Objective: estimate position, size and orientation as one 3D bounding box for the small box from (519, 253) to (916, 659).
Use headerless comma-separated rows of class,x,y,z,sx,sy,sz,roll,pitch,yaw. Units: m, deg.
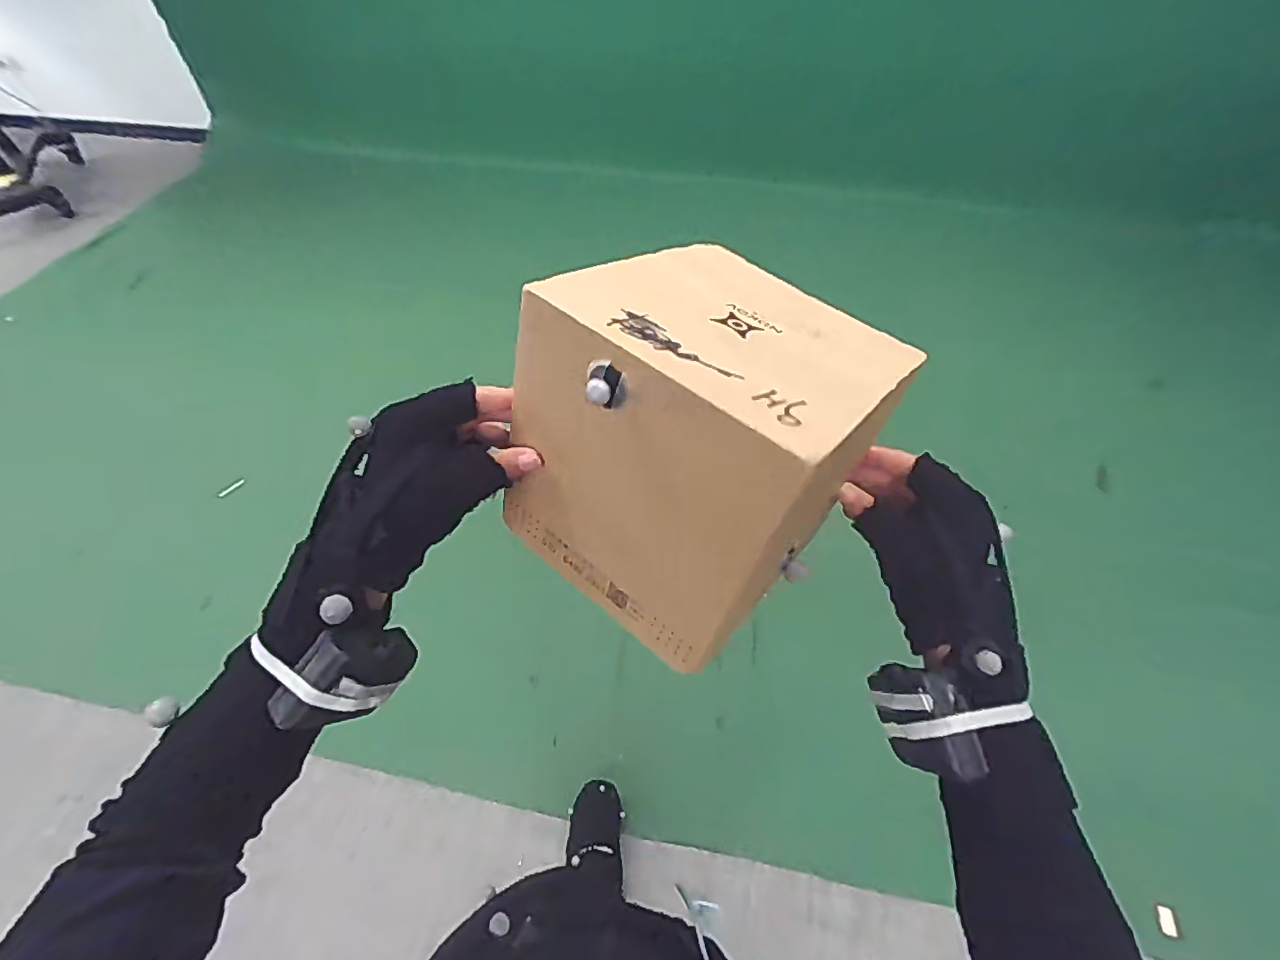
small box,0.039,-0.024,0.355,0.168,0.176,0.179,36,44,20
